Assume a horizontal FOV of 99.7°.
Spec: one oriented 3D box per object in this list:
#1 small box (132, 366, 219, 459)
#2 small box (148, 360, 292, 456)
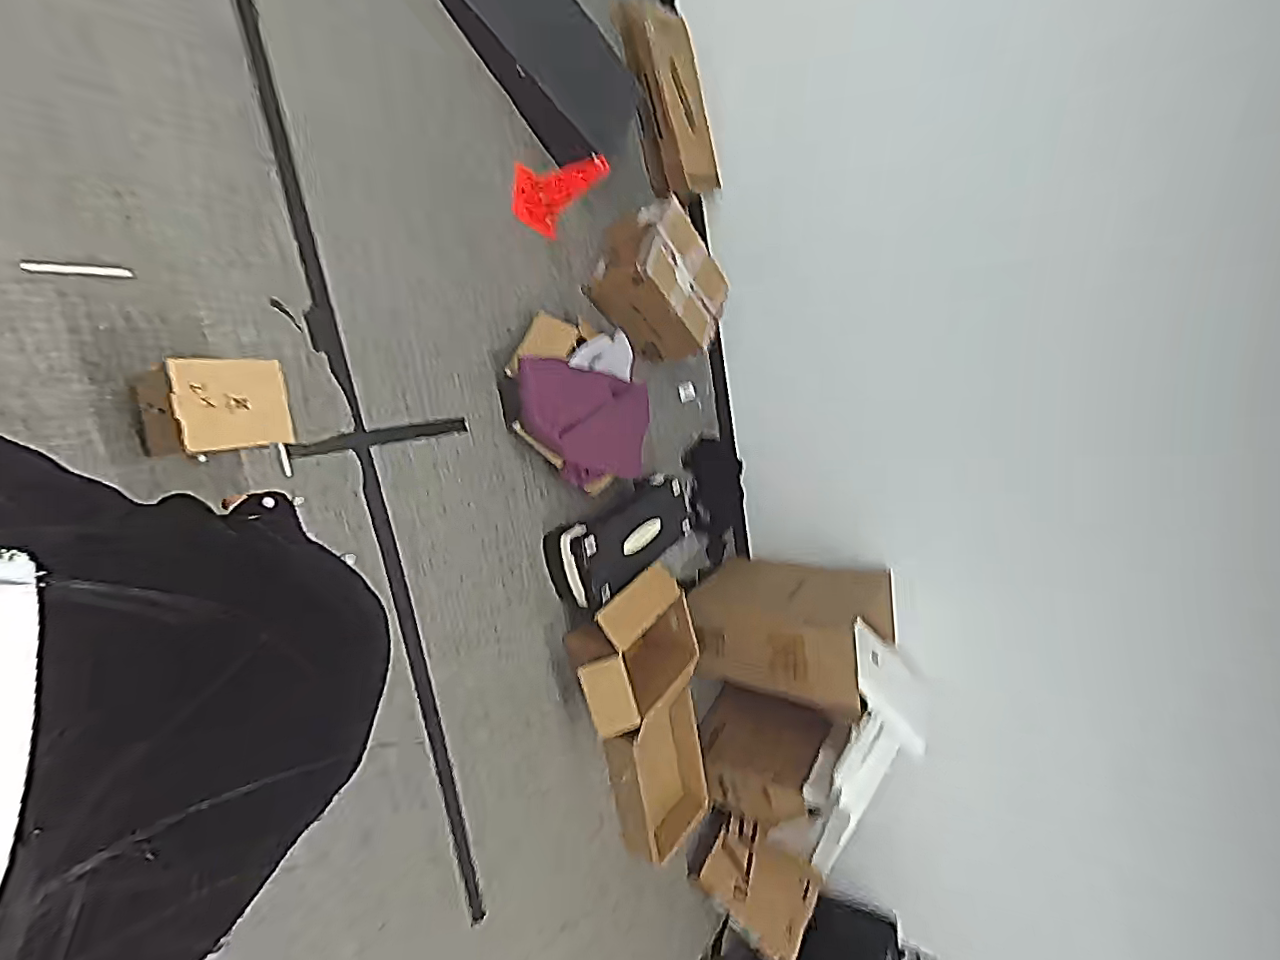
[{"bbox_3d":[-0.953,-0.143,1.158,0.168,0.176,0.179,-14,100,-50],"label":"small box"},{"bbox_3d":[-0.821,-0.139,1.060,0.179,0.176,0.168,-14,100,-50],"label":"small box"}]
